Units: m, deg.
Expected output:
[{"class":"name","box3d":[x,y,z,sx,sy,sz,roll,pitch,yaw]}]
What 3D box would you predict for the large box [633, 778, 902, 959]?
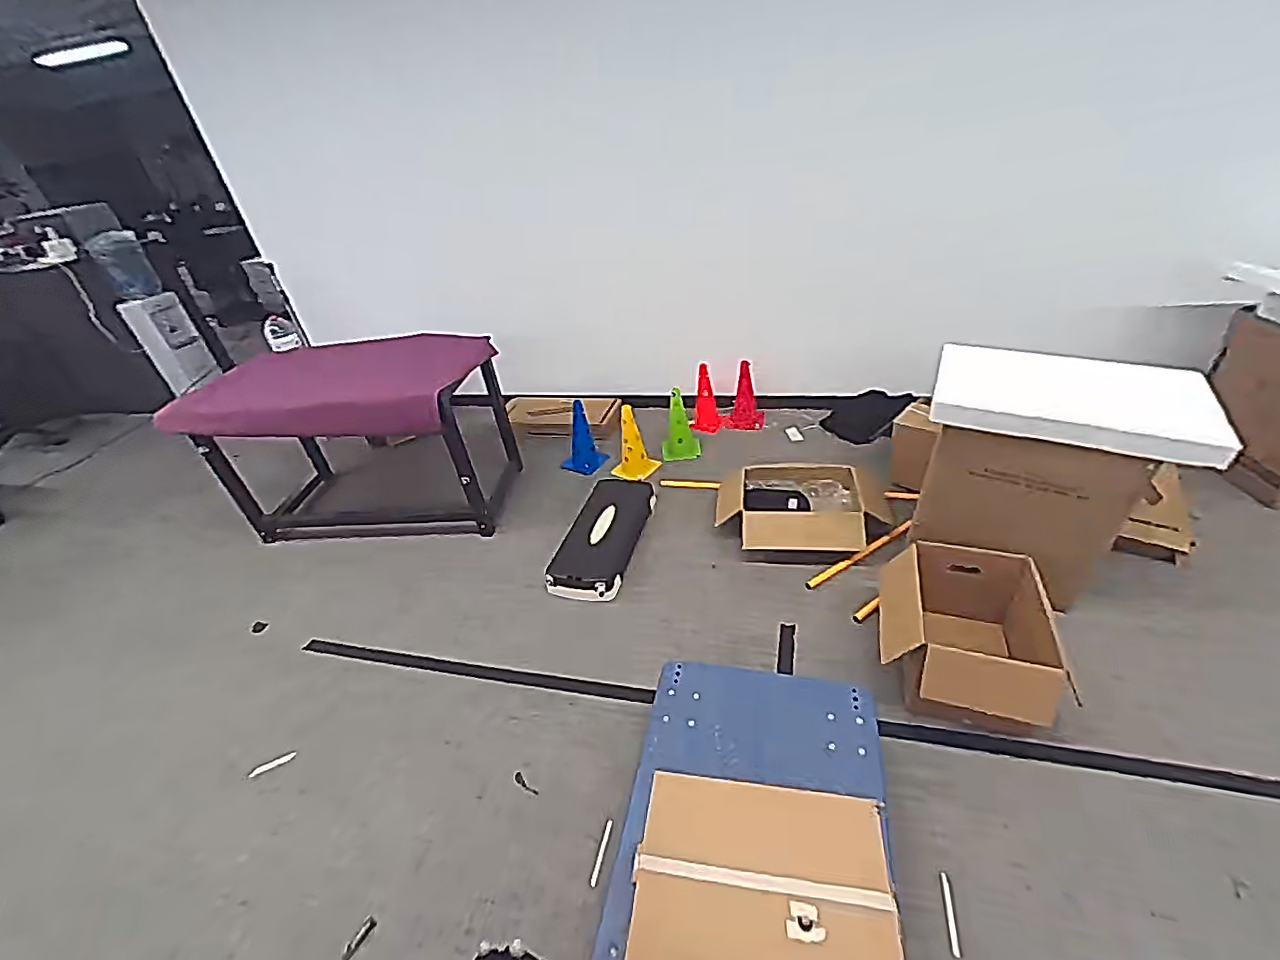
[{"class":"large box","box3d":[0.215,0.786,0.969,0.408,0.320,0.320,1,36,11]}]
